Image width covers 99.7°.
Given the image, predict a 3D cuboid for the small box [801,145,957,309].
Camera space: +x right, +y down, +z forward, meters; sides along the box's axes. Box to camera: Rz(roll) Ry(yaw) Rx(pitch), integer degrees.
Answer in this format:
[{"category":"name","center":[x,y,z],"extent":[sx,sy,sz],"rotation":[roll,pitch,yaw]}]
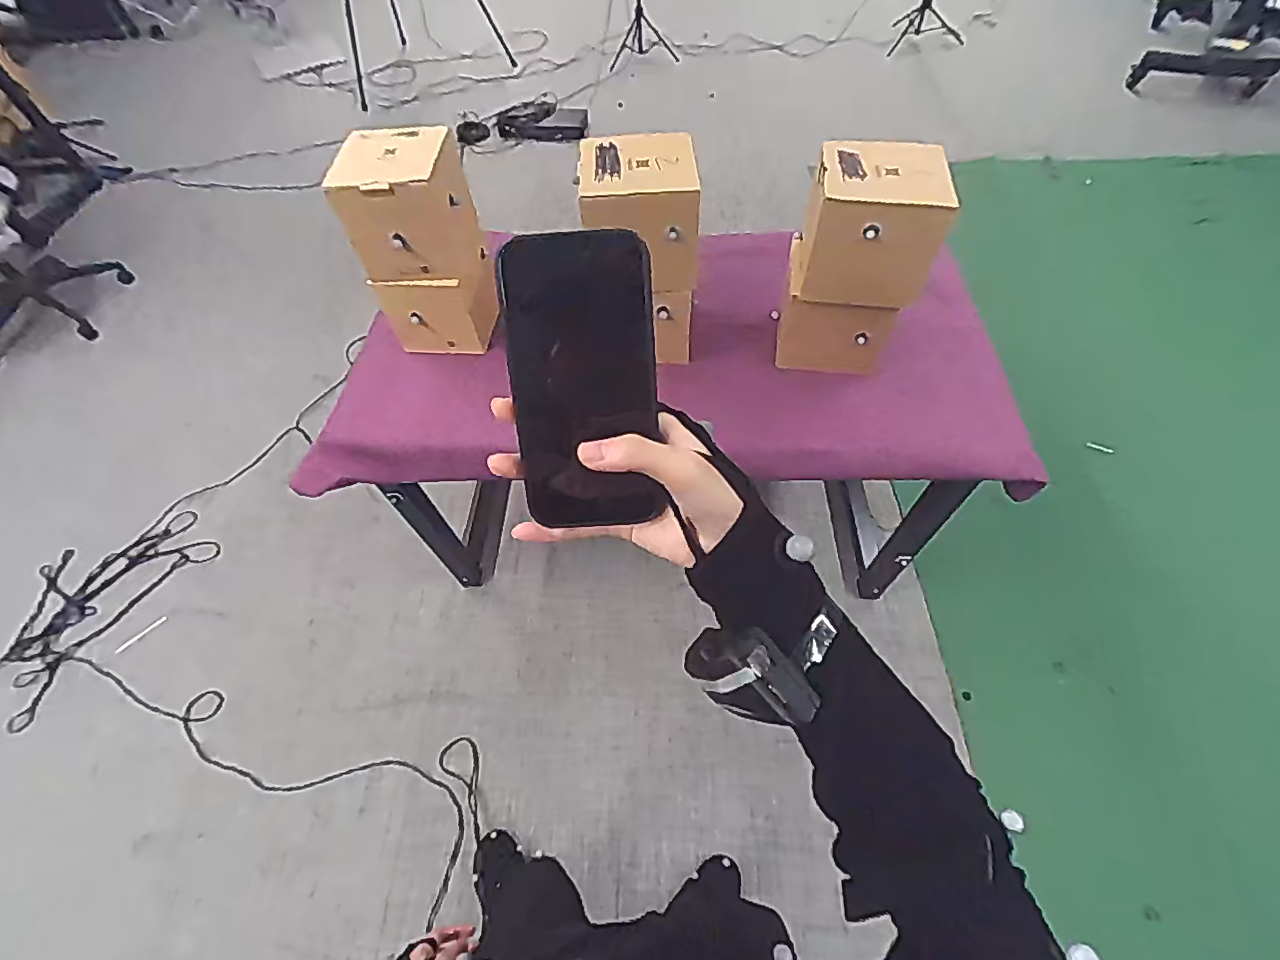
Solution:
[{"category":"small box","center":[0.348,-0.383,0.828],"extent":[0.179,0.176,0.168],"rotation":[7,57,7]}]

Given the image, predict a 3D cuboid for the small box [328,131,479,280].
[{"category":"small box","center":[-0.384,-0.456,0.917],"extent":[0.168,0.176,0.179],"rotation":[-2,57,1]}]

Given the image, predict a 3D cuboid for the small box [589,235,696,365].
[{"category":"small box","center":[0.011,-0.330,1.006],"extent":[0.179,0.176,0.168],"rotation":[2,57,5]}]

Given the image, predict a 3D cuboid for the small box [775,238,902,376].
[{"category":"small box","center":[0.349,-0.306,0.973],"extent":[0.179,0.176,0.168],"rotation":[7,57,8]}]

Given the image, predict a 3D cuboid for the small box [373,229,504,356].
[{"category":"small box","center":[-0.377,-0.359,1.049],"extent":[0.168,0.176,0.179],"rotation":[2,57,5]}]
